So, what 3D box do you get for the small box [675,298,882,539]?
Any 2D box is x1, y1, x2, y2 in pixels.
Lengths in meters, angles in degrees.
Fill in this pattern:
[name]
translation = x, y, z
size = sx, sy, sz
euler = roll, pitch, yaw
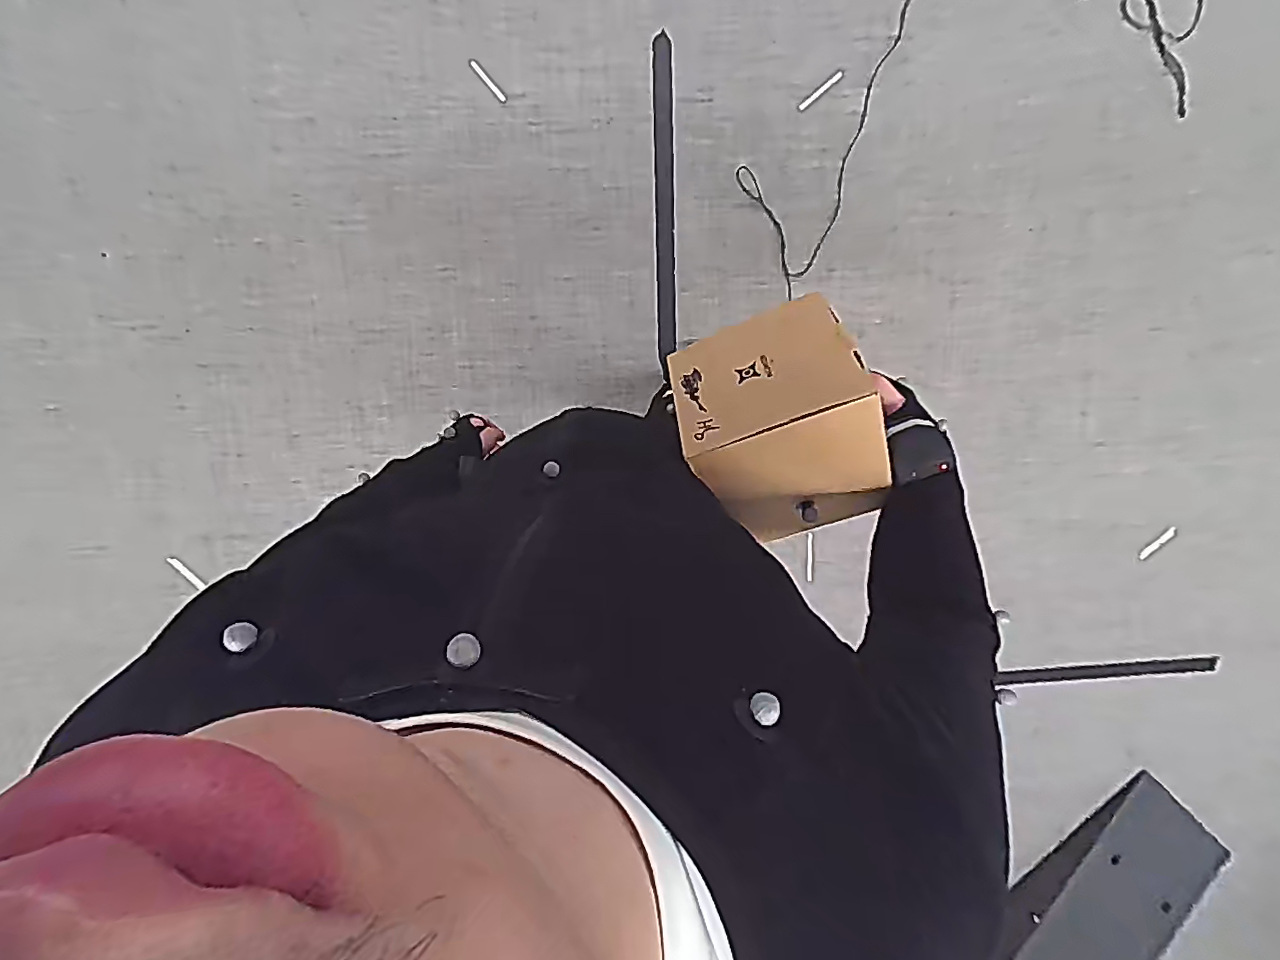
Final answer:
[small box]
translation = 0.154, -0.061, 0.599
size = 0.179, 0.168, 0.176
euler = -19, 135, 15
